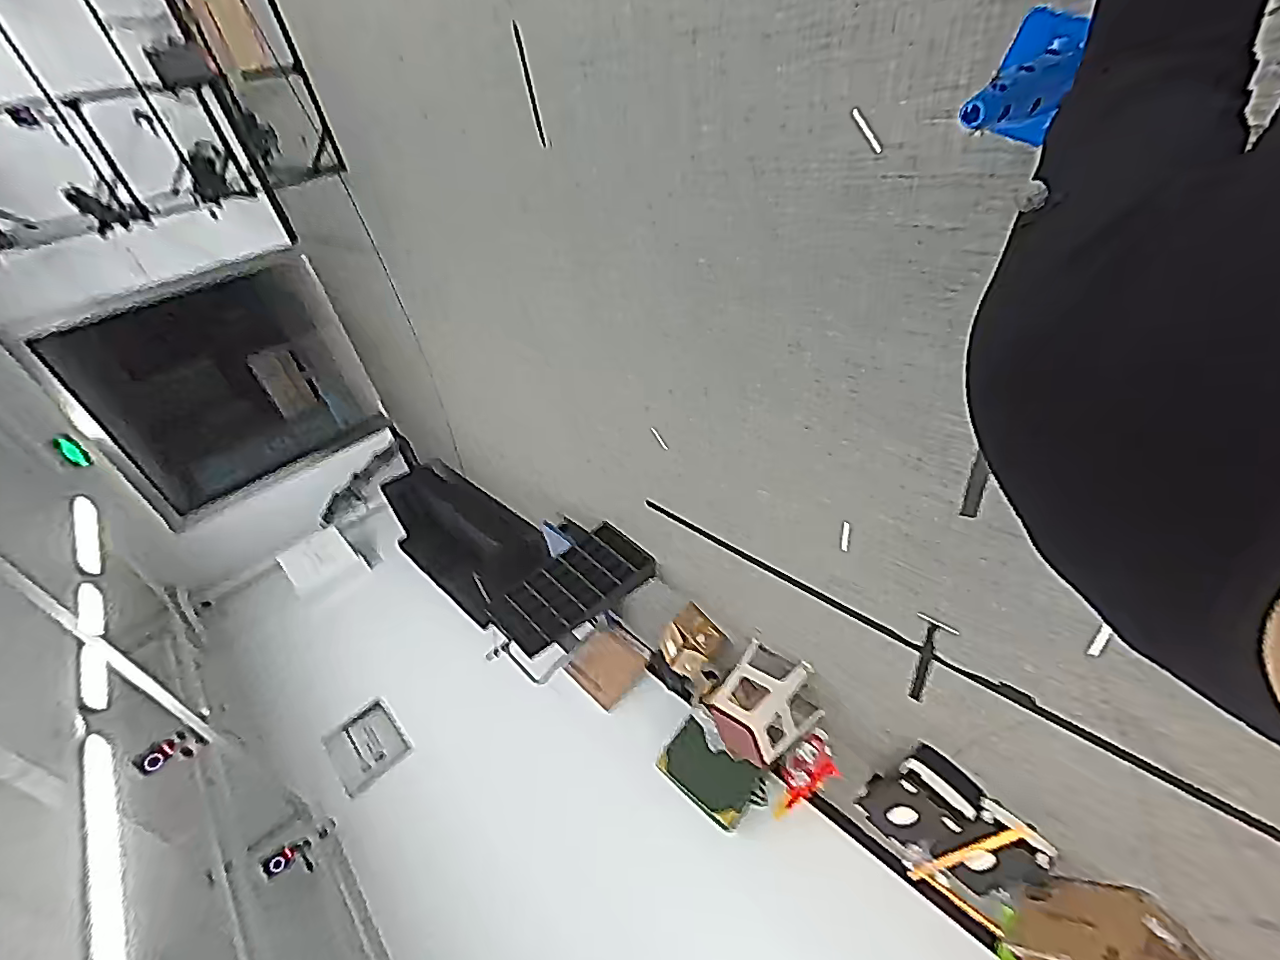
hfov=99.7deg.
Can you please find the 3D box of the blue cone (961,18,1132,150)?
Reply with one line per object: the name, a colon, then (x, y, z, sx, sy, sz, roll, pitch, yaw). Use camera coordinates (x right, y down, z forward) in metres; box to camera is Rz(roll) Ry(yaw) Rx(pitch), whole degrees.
blue cone: (0.696, -0.693, 0.988, 0.193, 0.380, 0.192, 43, 150, 23)
